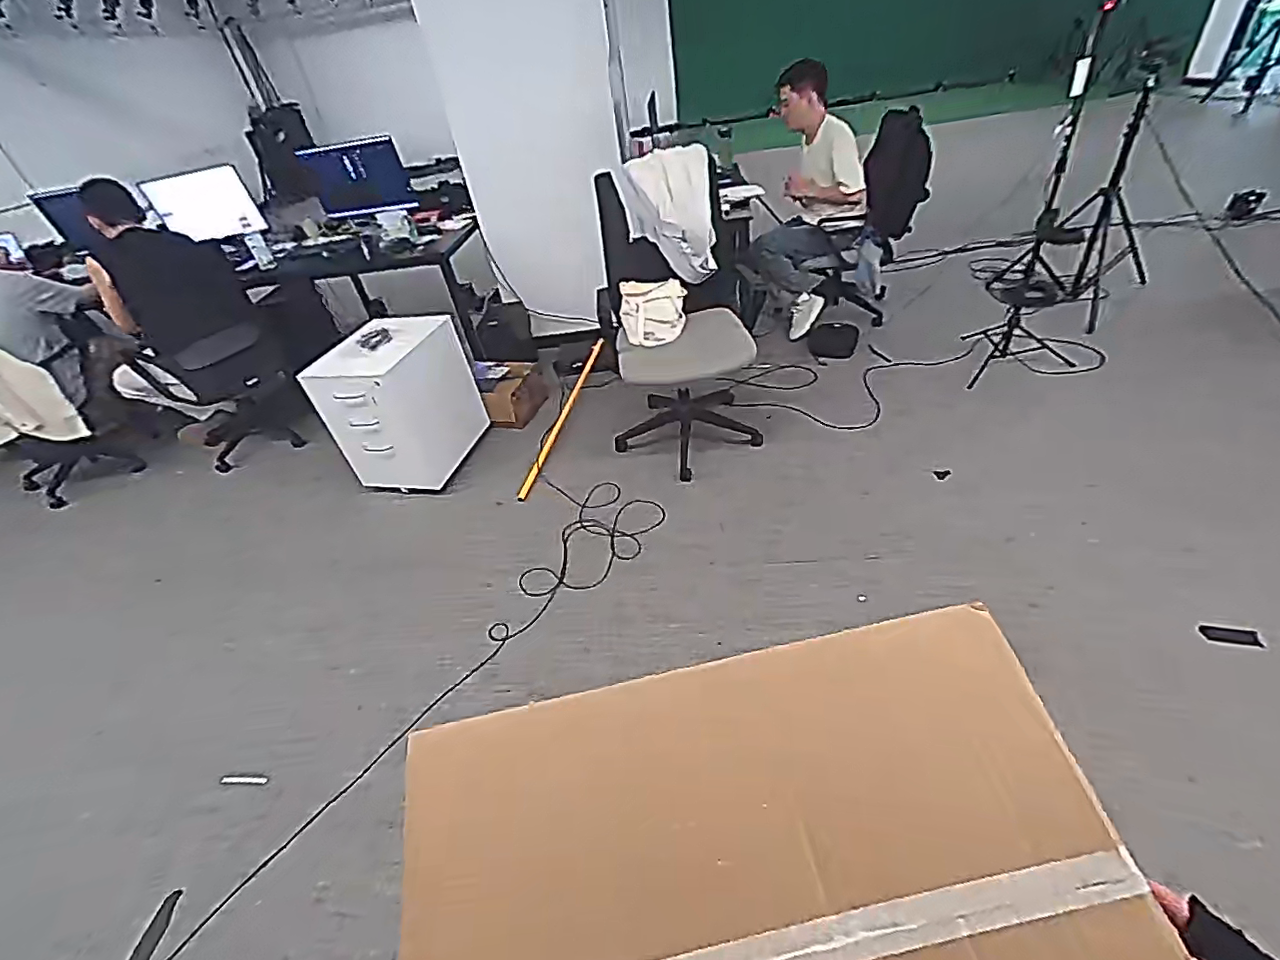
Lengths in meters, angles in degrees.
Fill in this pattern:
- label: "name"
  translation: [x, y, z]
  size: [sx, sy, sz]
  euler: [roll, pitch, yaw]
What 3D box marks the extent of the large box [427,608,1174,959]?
- label: "large box"
  translation: [0.091, 0.340, 0.423]
  size: [0.408, 0.320, 0.320]
  euler: [-13, 58, -1]
